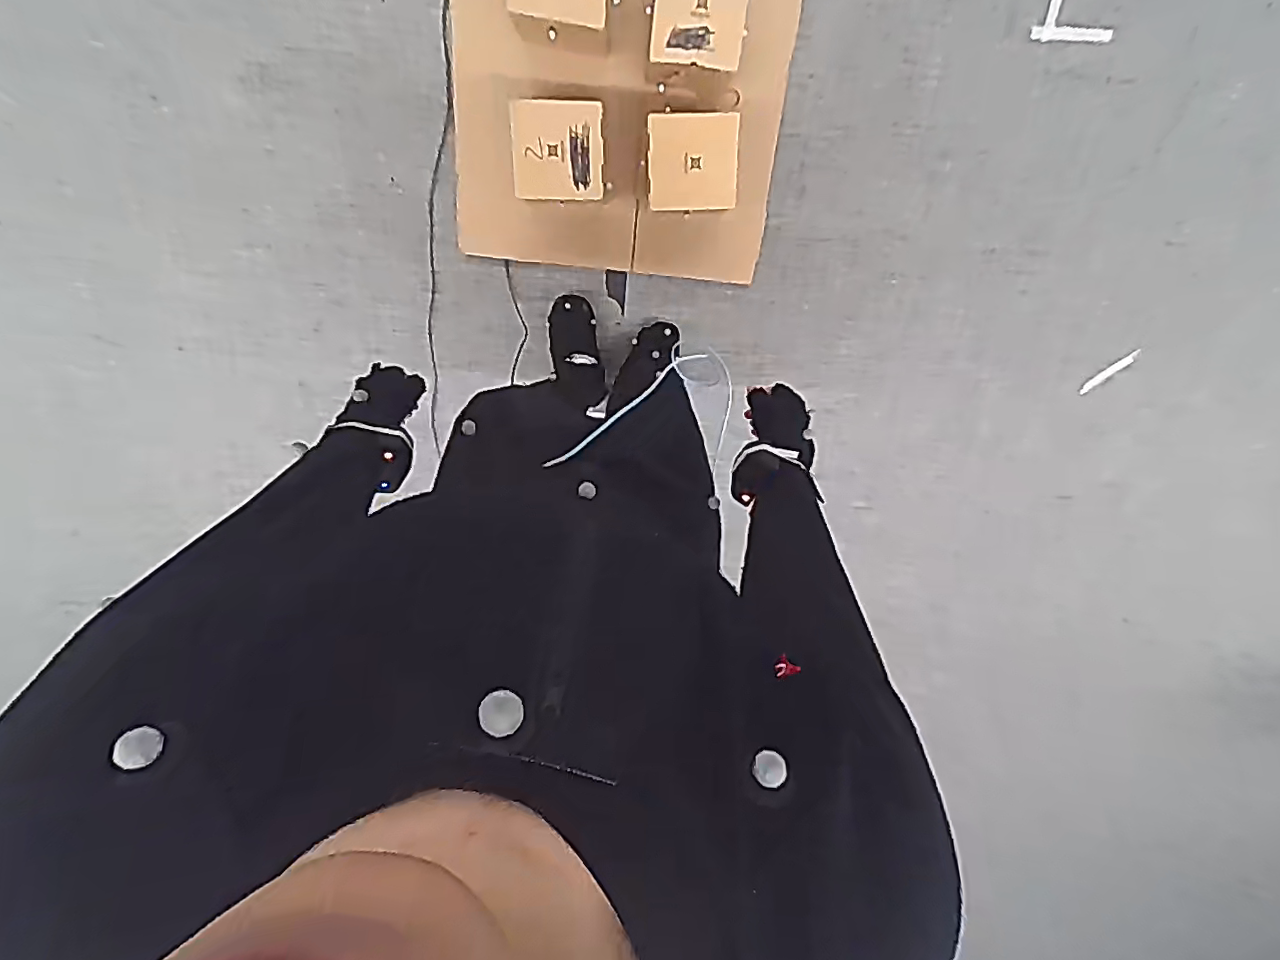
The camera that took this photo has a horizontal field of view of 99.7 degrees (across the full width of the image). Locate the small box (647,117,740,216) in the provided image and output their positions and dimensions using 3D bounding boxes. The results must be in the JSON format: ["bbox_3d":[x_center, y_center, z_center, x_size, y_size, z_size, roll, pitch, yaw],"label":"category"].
[{"bbox_3d":[0.104,-0.649,1.131,0.179,0.176,0.168,-1,114,1],"label":"small box"}]

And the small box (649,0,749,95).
[{"bbox_3d":[0.108,-0.864,1.033,0.168,0.176,0.179,6,113,-4],"label":"small box"}]

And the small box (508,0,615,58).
[{"bbox_3d":[-0.136,-0.915,0.999,0.179,0.176,0.168,8,114,-5],"label":"small box"}]
